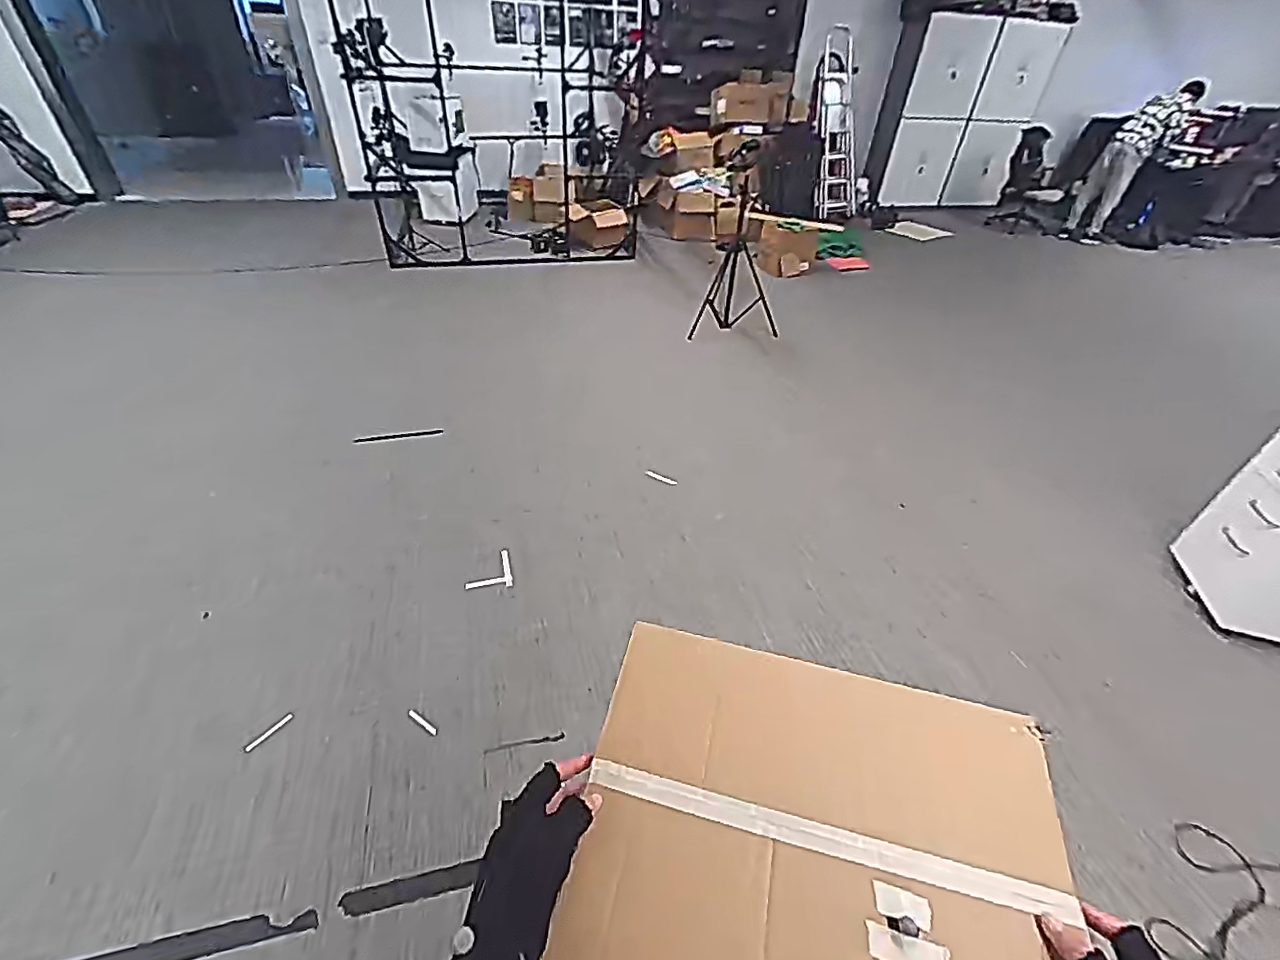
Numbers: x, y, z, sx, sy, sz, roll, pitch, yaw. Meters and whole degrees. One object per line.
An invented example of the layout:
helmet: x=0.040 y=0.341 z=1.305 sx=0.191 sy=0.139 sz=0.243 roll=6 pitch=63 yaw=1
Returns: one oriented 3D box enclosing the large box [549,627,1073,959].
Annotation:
large box: x=0.153 y=0.409 z=0.589 sx=0.408 sy=0.320 sz=0.320 roll=12 pitch=49 yaw=10
